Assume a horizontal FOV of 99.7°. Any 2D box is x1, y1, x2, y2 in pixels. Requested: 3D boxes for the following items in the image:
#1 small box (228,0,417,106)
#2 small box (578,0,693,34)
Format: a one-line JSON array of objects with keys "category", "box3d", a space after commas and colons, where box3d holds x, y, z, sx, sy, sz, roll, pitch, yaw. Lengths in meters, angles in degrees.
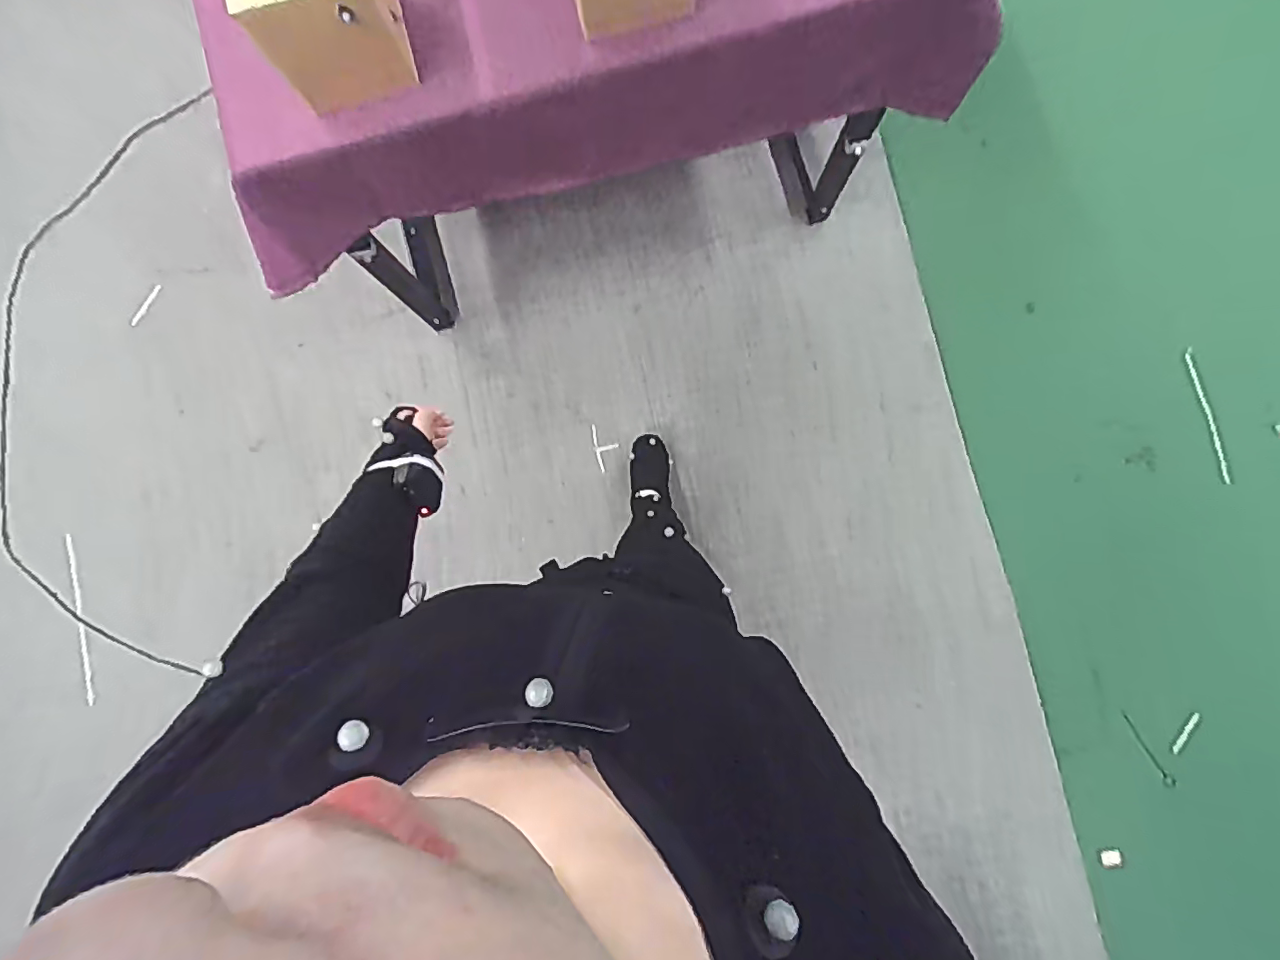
[{"category": "small box", "box3d": [-0.447, -0.675, 0.763, 0.179, 0.176, 0.168, -15, 85, -1]}, {"category": "small box", "box3d": [-0.020, -0.784, 0.762, 0.179, 0.176, 0.168, -13, 85, 0]}]
